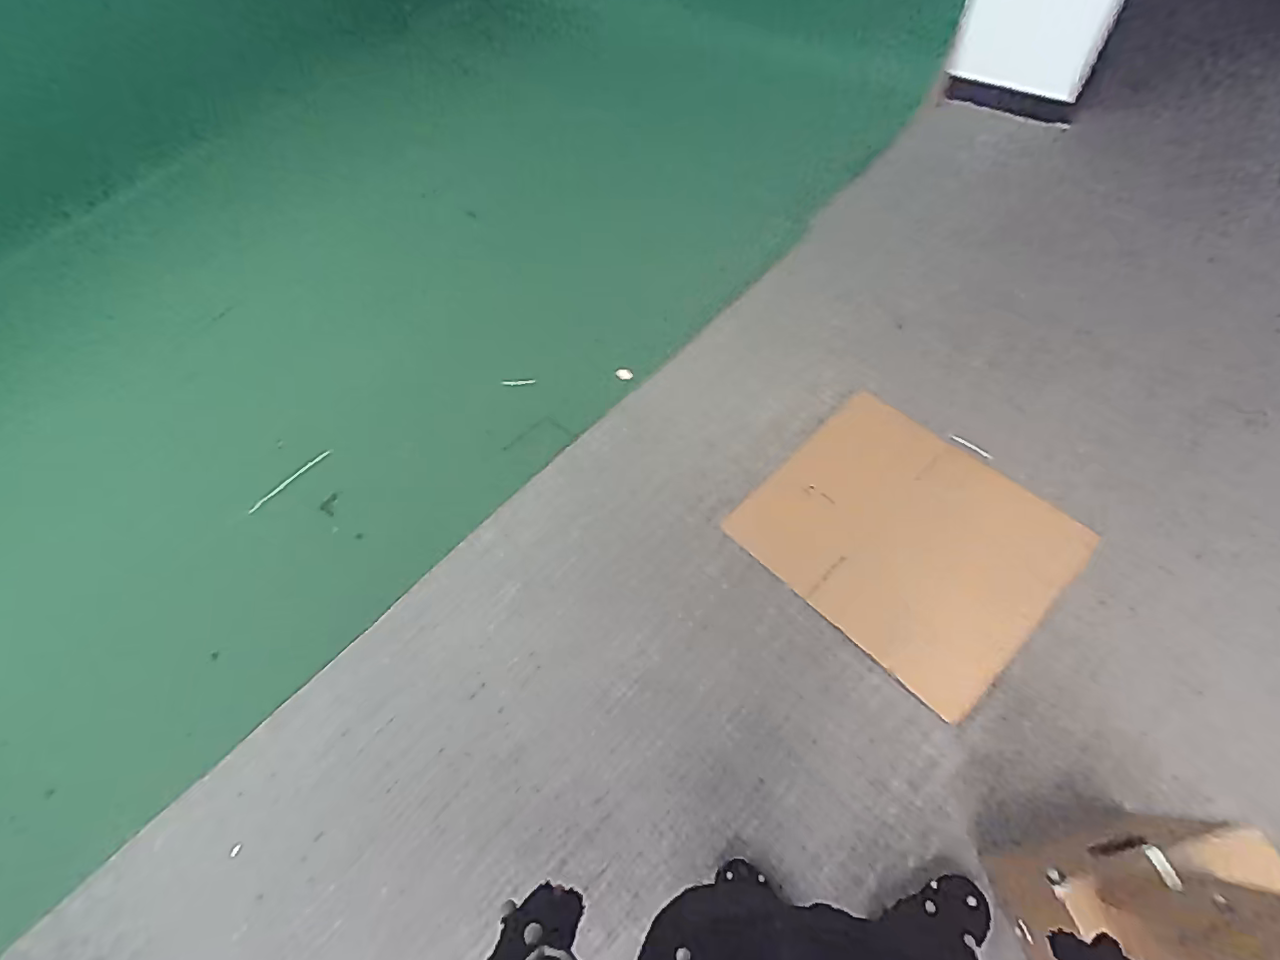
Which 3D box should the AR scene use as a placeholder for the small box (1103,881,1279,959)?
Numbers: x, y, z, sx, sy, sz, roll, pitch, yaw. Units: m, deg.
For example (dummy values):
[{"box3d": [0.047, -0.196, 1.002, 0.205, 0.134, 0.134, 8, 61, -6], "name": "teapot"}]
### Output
[{"box3d": [0.746, 0.623, 0.670, 0.179, 0.176, 0.168, -16, 59, 5], "name": "small box"}]
